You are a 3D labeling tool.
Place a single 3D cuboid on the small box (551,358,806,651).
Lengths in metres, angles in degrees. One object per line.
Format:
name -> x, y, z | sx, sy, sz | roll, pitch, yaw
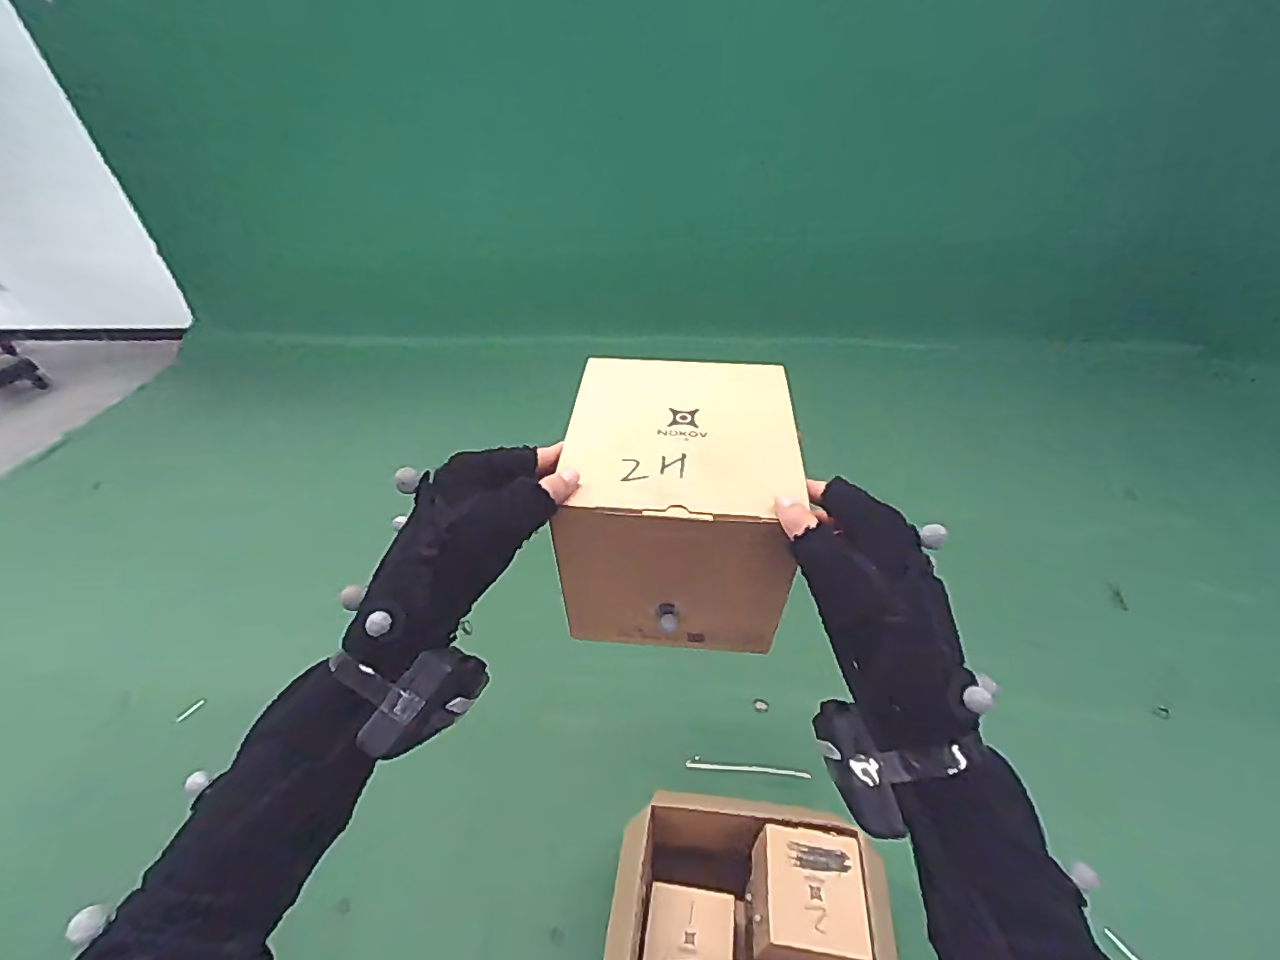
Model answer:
small box -> 0.030, 0.018, 0.455 | 0.168, 0.176, 0.179 | 3, 44, 4
